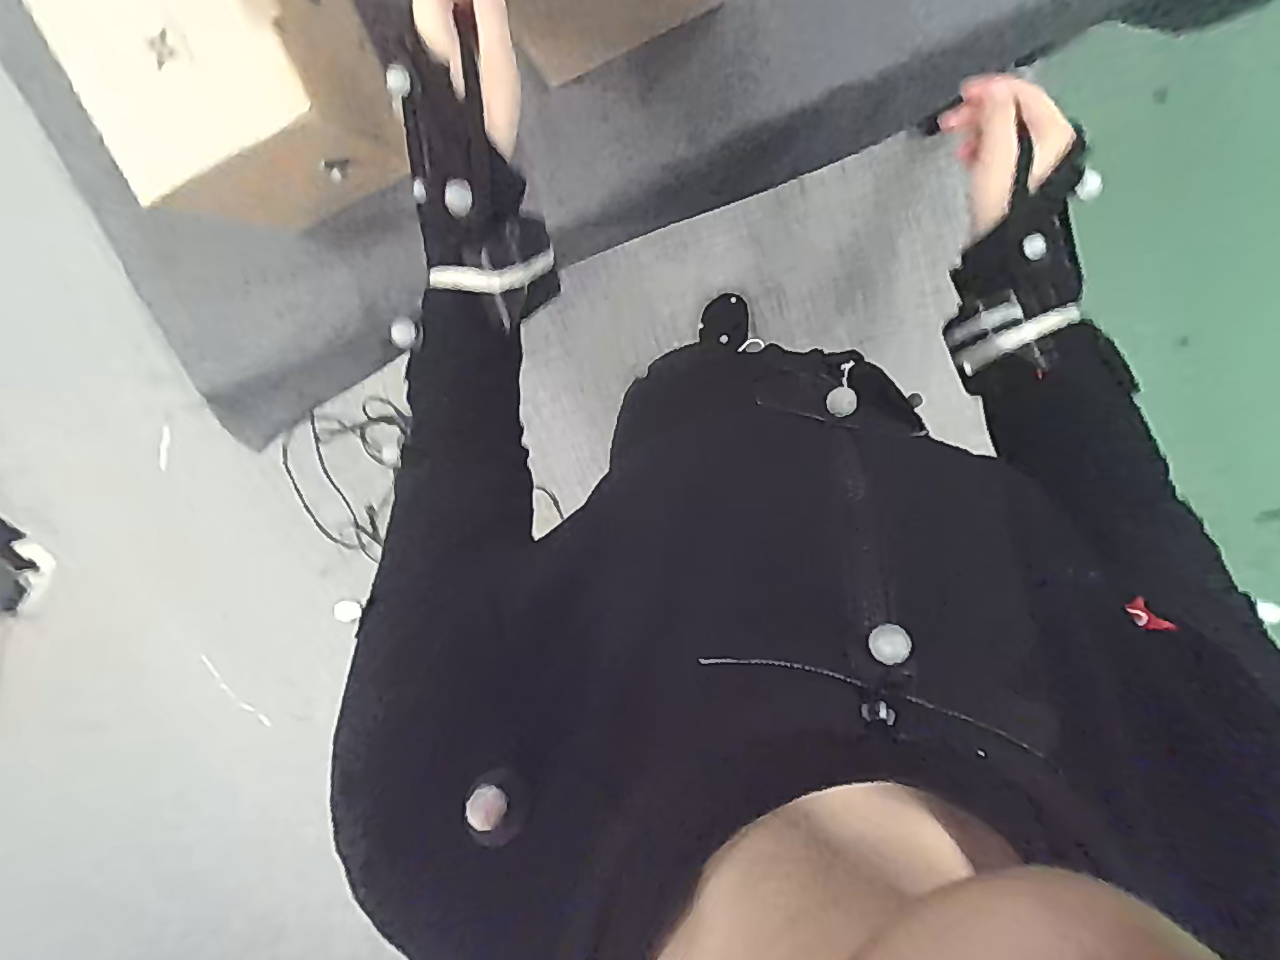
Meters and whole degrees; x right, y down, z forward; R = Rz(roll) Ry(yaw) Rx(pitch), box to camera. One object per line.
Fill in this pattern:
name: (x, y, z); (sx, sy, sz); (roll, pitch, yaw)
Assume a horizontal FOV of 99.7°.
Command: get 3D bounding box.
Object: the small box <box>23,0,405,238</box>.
small box: (-0.340, -0.336, 0.476); (0.179, 0.176, 0.168); (-20, 103, 13)
